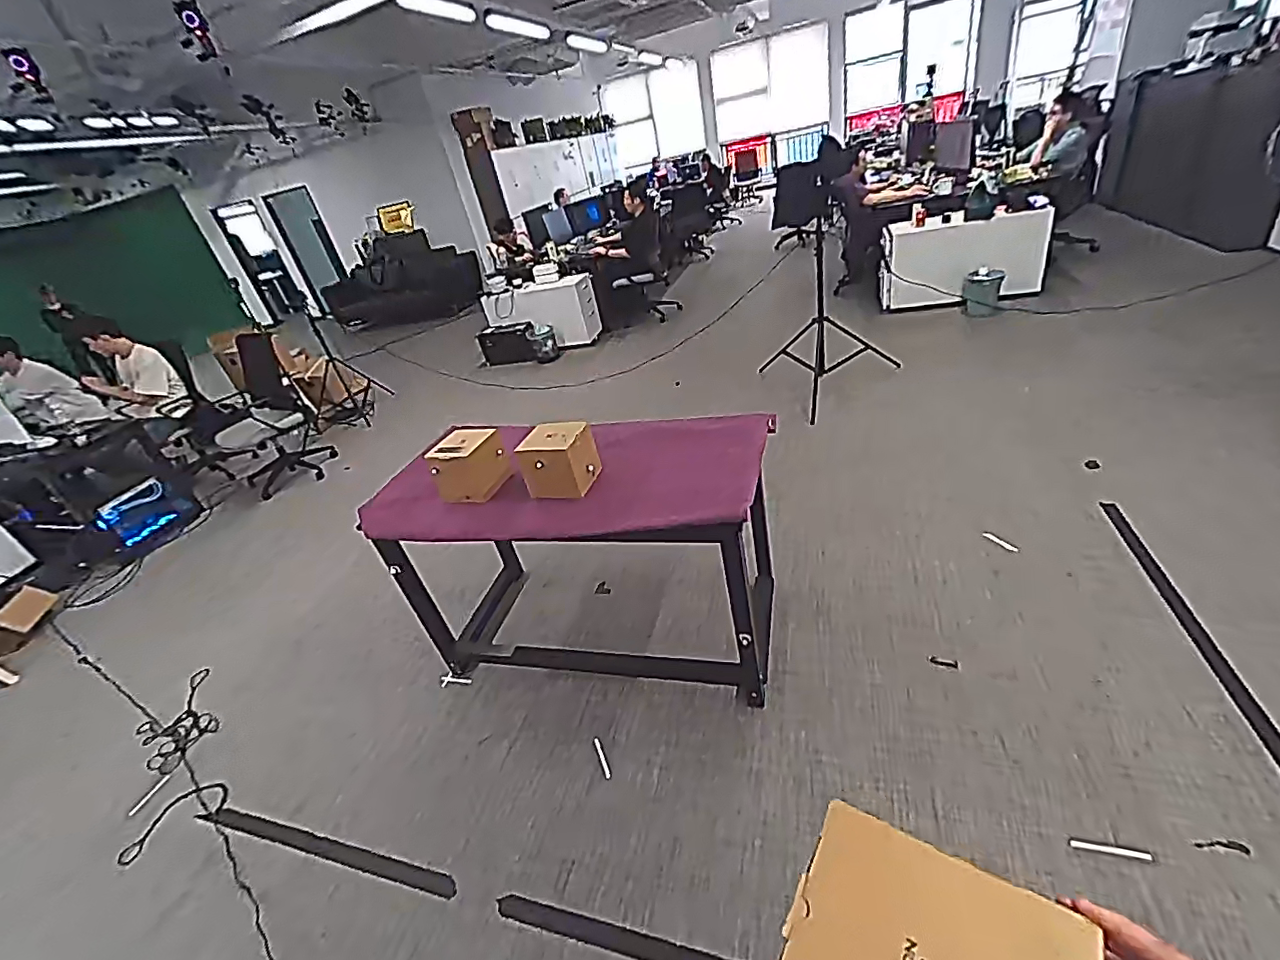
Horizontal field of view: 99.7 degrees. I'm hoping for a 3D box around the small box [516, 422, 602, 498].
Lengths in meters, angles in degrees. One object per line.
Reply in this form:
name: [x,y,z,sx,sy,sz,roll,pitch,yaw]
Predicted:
small box: [-0.236,-0.058,1.616,0.179,0.176,0.168,0,34,22]
